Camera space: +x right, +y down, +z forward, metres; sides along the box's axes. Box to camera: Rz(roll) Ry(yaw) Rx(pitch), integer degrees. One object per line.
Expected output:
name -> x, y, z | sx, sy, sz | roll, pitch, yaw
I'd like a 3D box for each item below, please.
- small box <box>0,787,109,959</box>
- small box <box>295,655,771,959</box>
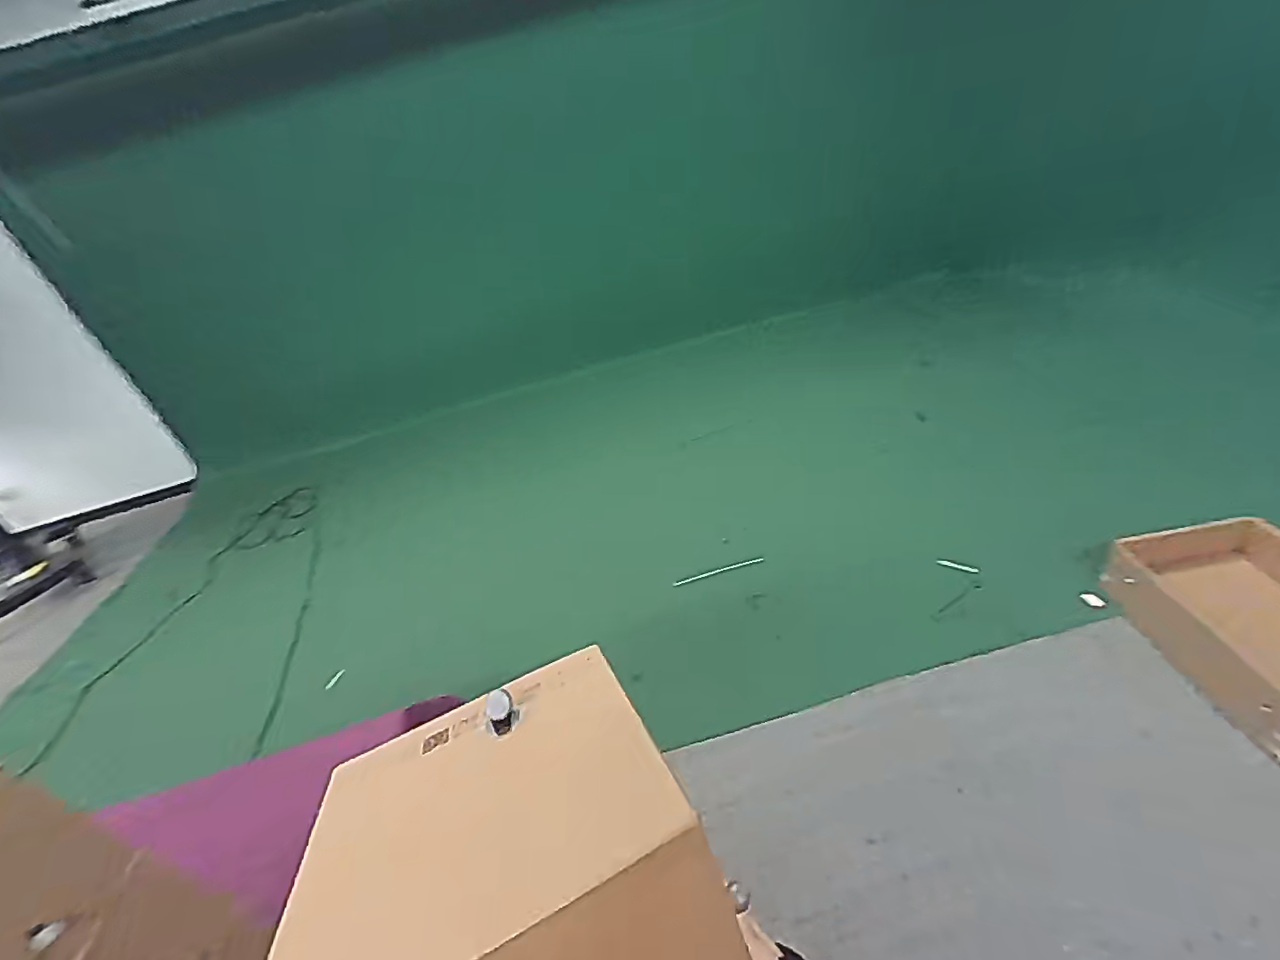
small box -> -0.598, 0.389, 0.431 | 0.168, 0.176, 0.179 | -16, 32, 0
small box -> -0.040, 0.224, 0.271 | 0.168, 0.179, 0.176 | -22, 13, -15
